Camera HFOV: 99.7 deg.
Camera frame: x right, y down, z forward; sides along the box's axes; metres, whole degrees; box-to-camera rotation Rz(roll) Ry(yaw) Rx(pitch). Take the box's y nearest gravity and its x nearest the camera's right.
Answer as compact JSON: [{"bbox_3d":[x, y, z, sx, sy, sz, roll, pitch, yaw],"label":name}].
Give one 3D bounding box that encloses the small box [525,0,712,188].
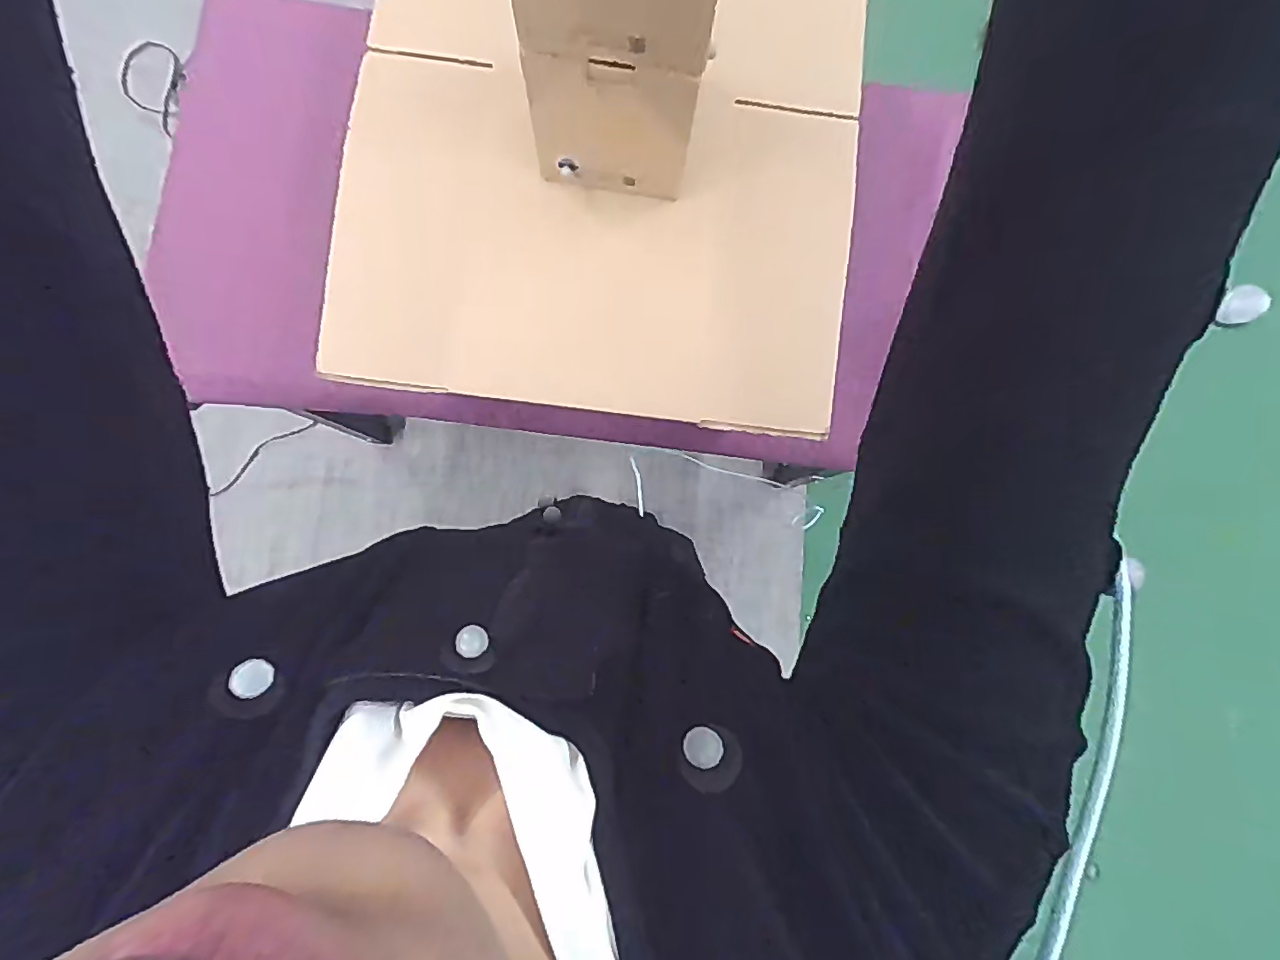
[{"bbox_3d":[-0.018,-0.440,0.567,0.168,0.176,0.179,4,84,-3],"label":"small box"}]
